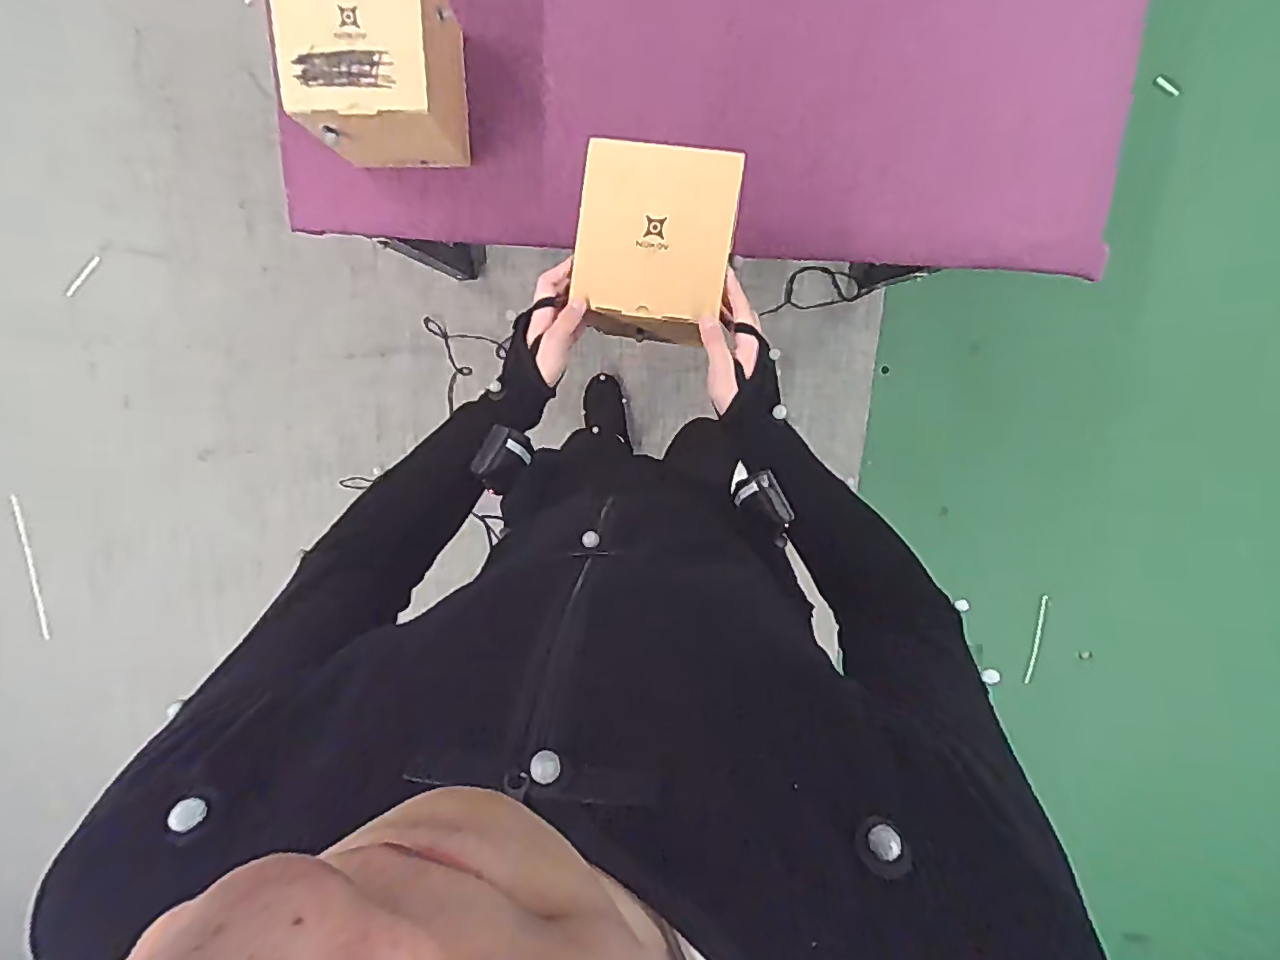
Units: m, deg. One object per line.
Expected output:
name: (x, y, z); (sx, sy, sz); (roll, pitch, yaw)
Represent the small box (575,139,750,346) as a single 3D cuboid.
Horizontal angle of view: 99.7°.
small box: (0.027, -0.269, 0.649); (0.168, 0.176, 0.179); (9, 98, 4)
